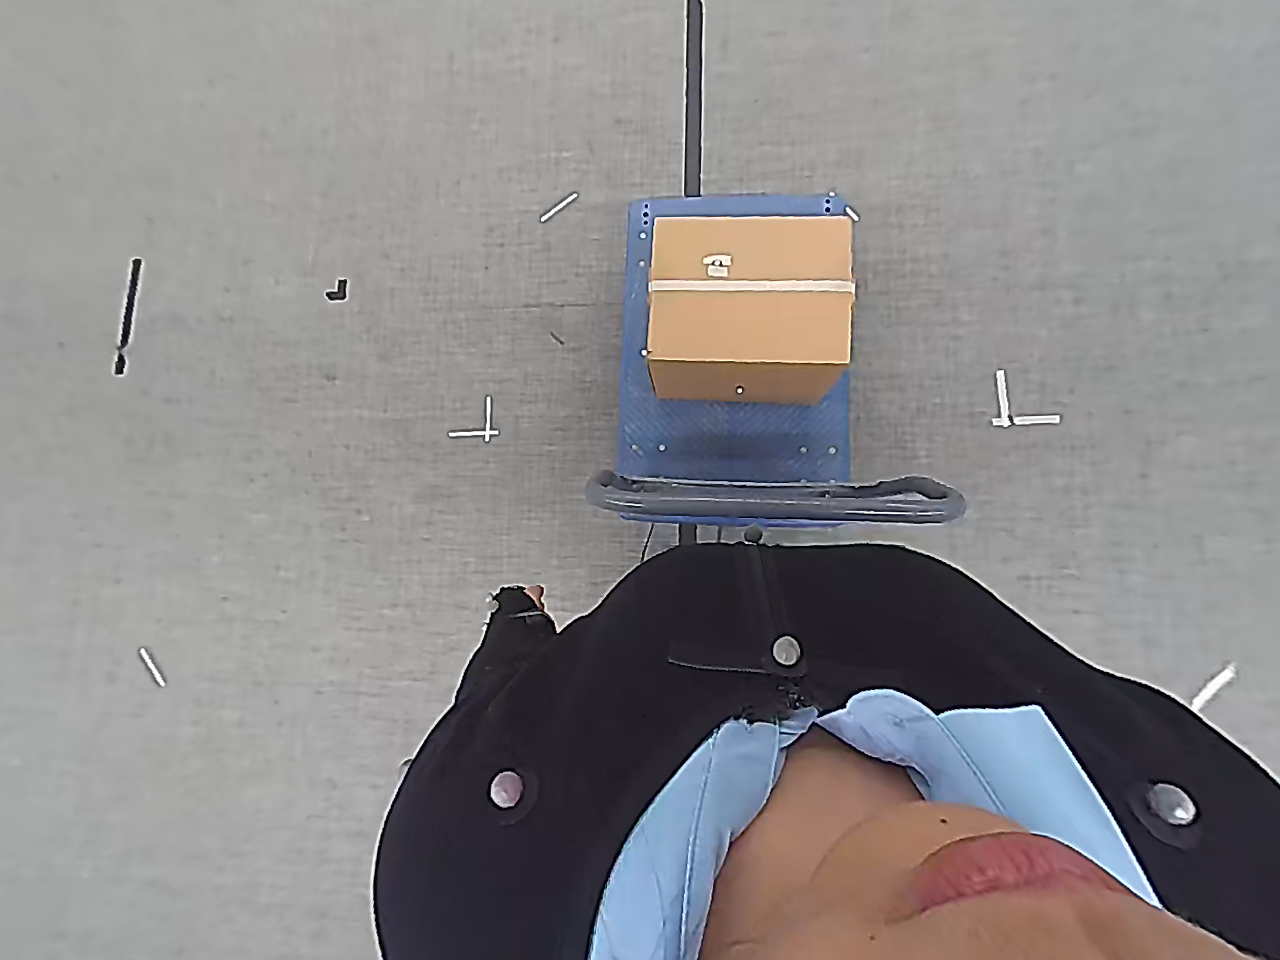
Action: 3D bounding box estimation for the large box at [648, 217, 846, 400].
[{"bbox_3d":[0.238,-0.374,1.259,0.408,0.320,0.320,2,82,7],"label":"large box"}]
